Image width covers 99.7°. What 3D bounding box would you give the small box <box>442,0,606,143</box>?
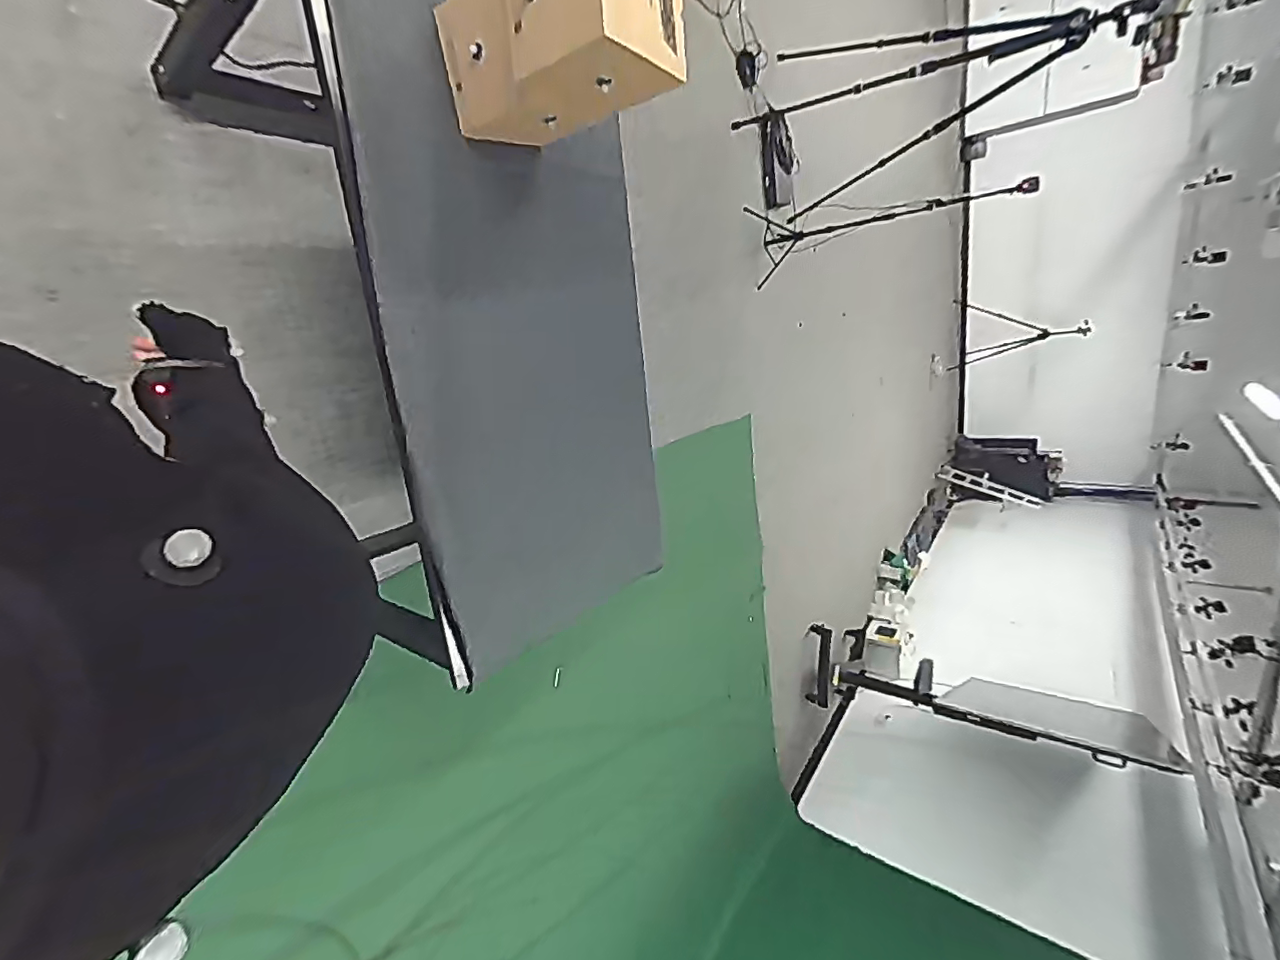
[{"bbox_3d":[-0.181,-0.641,0.834,0.179,0.176,0.168,-31,119,-47],"label":"small box"}]

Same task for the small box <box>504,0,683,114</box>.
[{"bbox_3d":[-0.061,-0.622,0.722,0.179,0.176,0.168,-20,110,-49],"label":"small box"}]
